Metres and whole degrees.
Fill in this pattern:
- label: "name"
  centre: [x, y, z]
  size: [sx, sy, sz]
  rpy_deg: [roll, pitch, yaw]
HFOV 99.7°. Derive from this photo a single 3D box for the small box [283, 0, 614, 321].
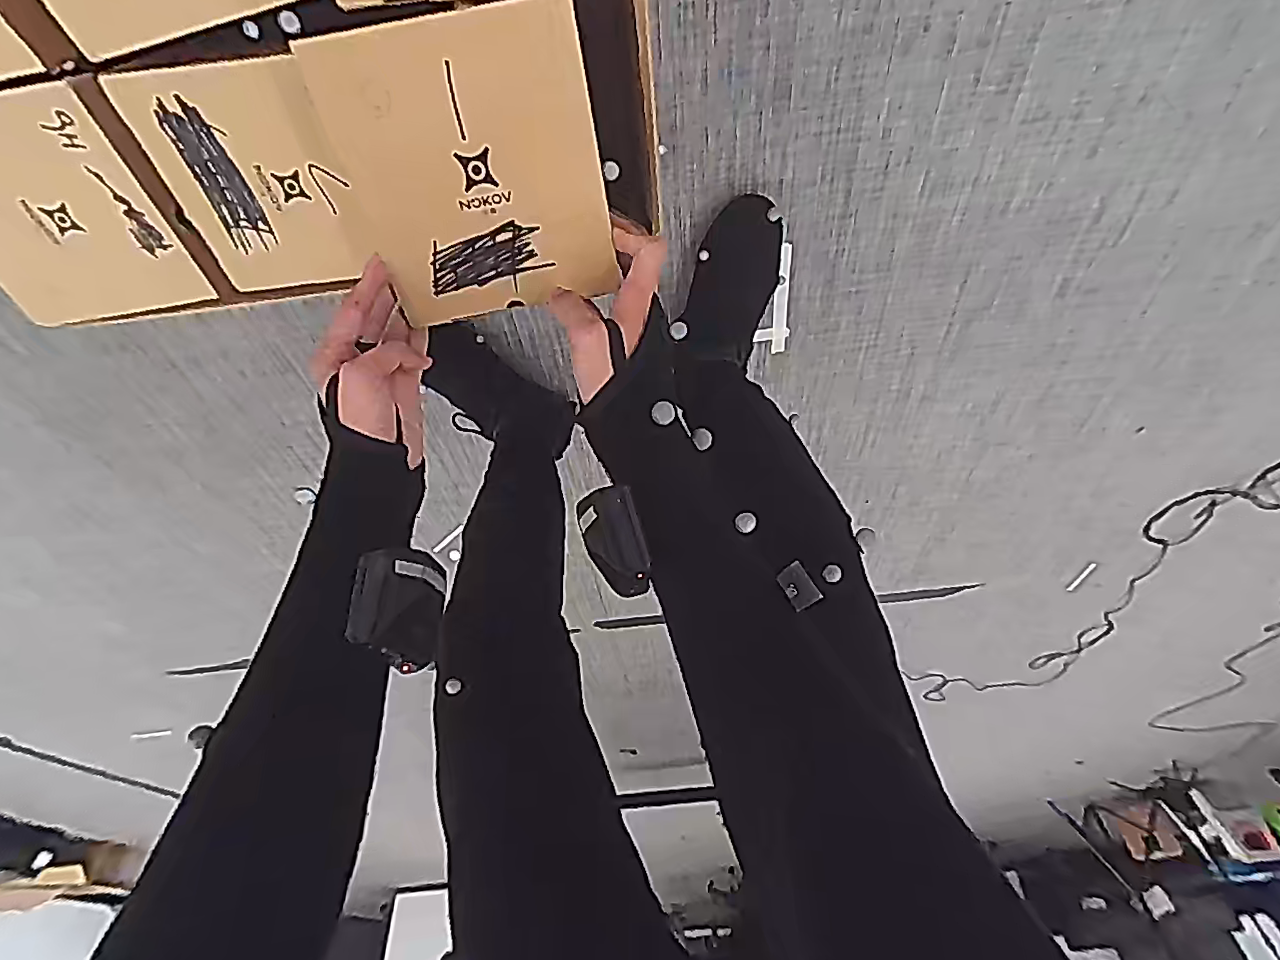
- label: "small box"
  centre: [-0.116, -0.248, 0.415]
  size: [0.168, 0.176, 0.179]
  rpy_deg: [-10, 129, 1]
